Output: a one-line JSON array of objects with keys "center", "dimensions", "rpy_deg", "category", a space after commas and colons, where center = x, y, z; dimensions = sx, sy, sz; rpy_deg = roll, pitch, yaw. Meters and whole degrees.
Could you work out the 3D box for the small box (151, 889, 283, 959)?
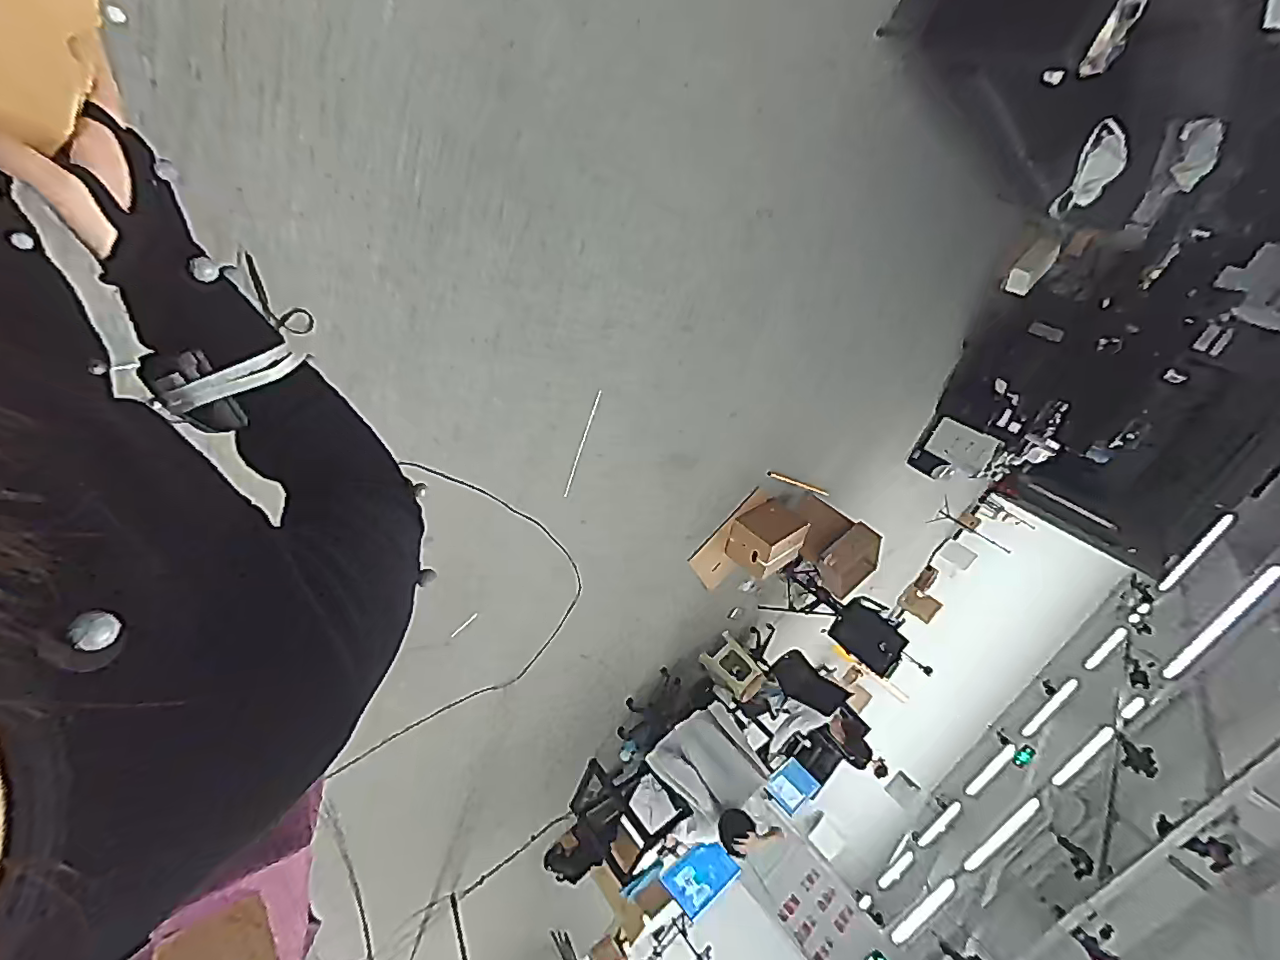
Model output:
[{"center": [-0.846, 0.975, 1.076], "dimensions": [0.179, 0.176, 0.168], "rpy_deg": [0, 121, -49], "category": "small box"}]
